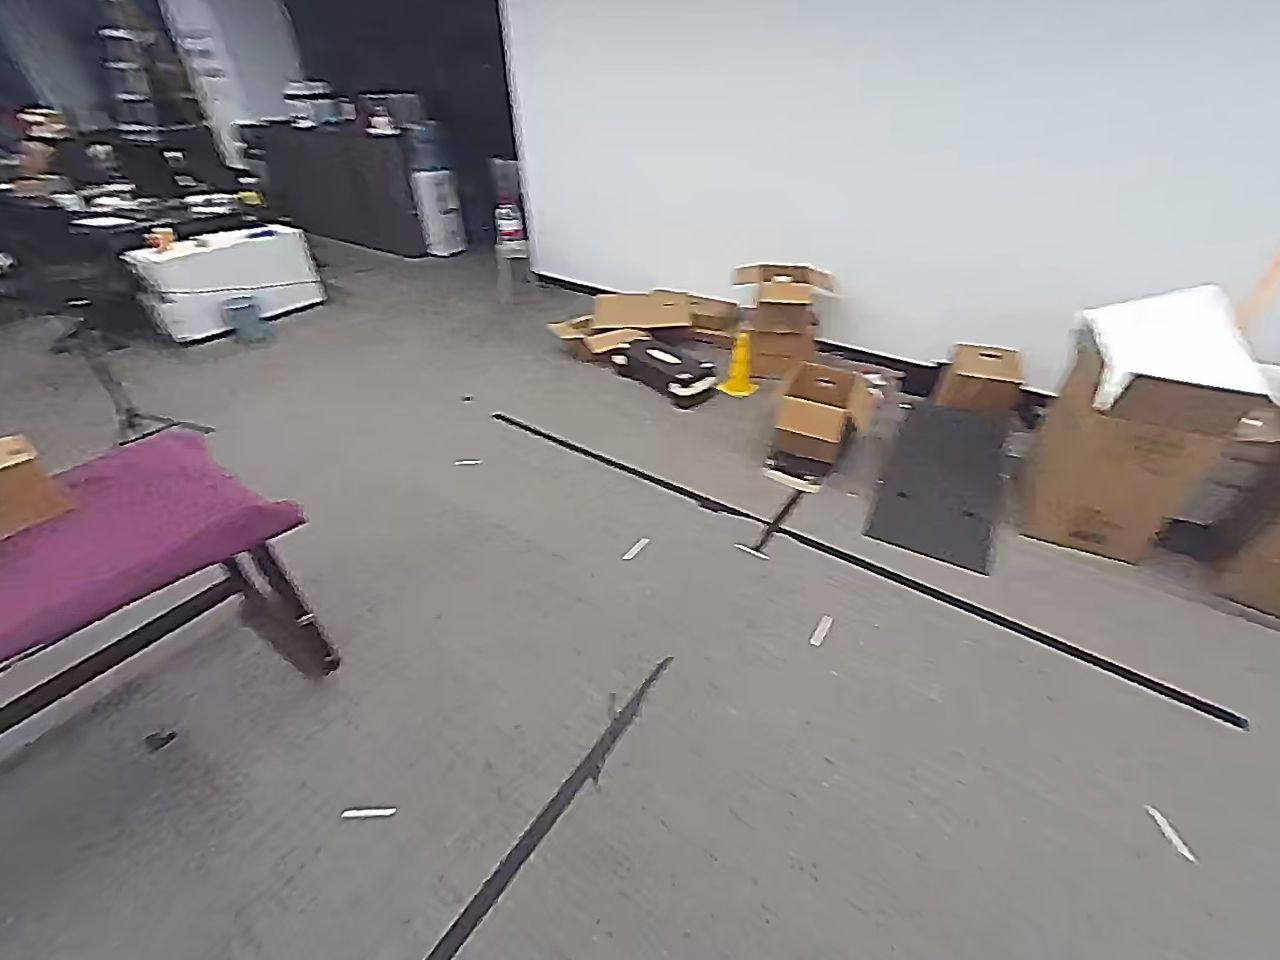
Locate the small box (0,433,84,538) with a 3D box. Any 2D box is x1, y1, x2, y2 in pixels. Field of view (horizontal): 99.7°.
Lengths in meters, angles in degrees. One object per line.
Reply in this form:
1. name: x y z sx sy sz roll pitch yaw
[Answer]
1. small box: -1.580 0.016 1.360 0.168 0.176 0.179 26 46 26
